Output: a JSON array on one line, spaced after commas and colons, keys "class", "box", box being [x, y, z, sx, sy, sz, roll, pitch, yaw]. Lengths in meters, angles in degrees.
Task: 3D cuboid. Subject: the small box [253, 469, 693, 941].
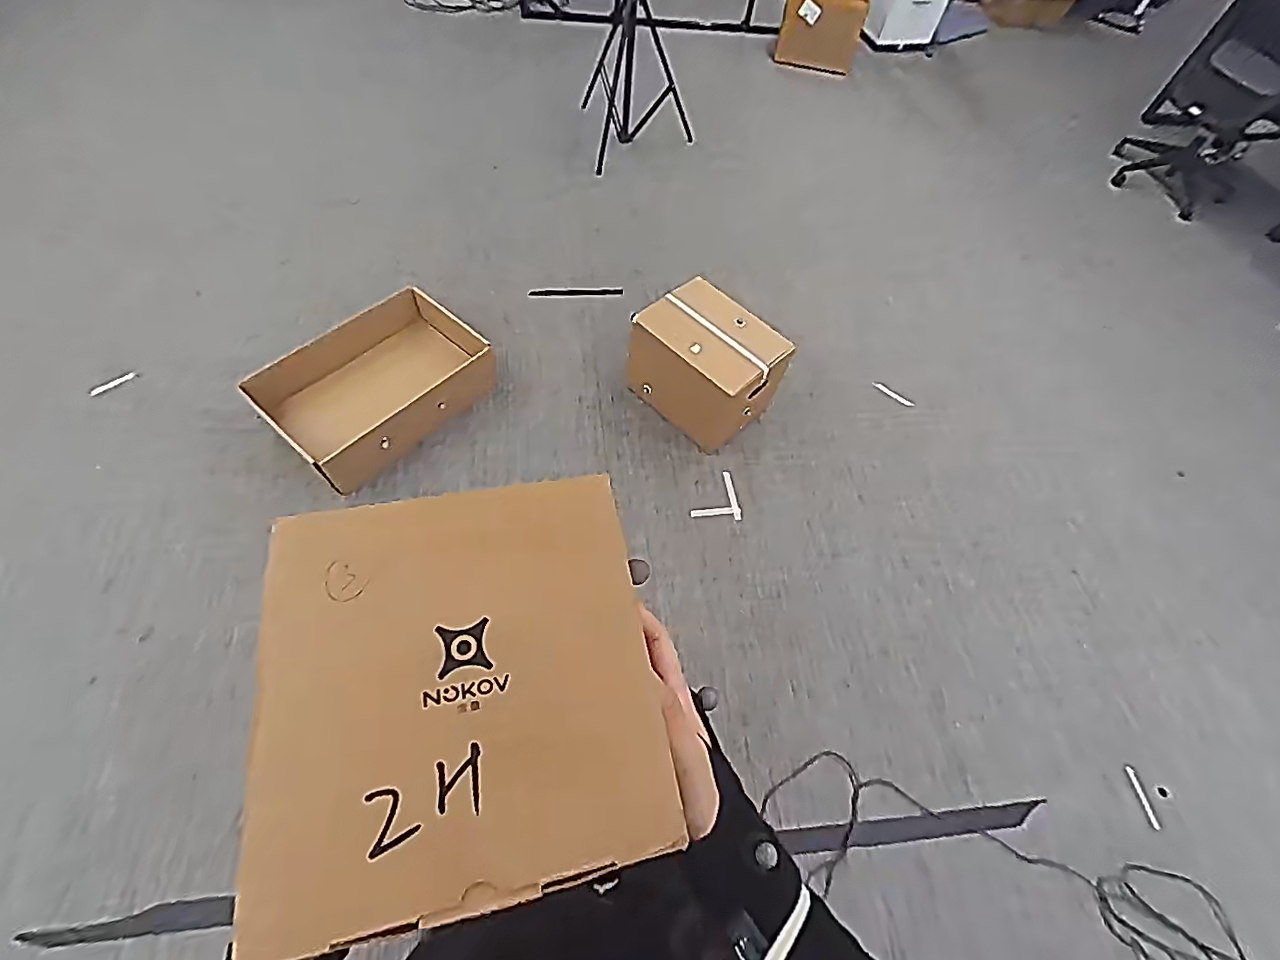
[{"class": "small box", "box": [-0.084, 0.116, 0.313, 0.168, 0.176, 0.179, -8, 63, -12]}]
